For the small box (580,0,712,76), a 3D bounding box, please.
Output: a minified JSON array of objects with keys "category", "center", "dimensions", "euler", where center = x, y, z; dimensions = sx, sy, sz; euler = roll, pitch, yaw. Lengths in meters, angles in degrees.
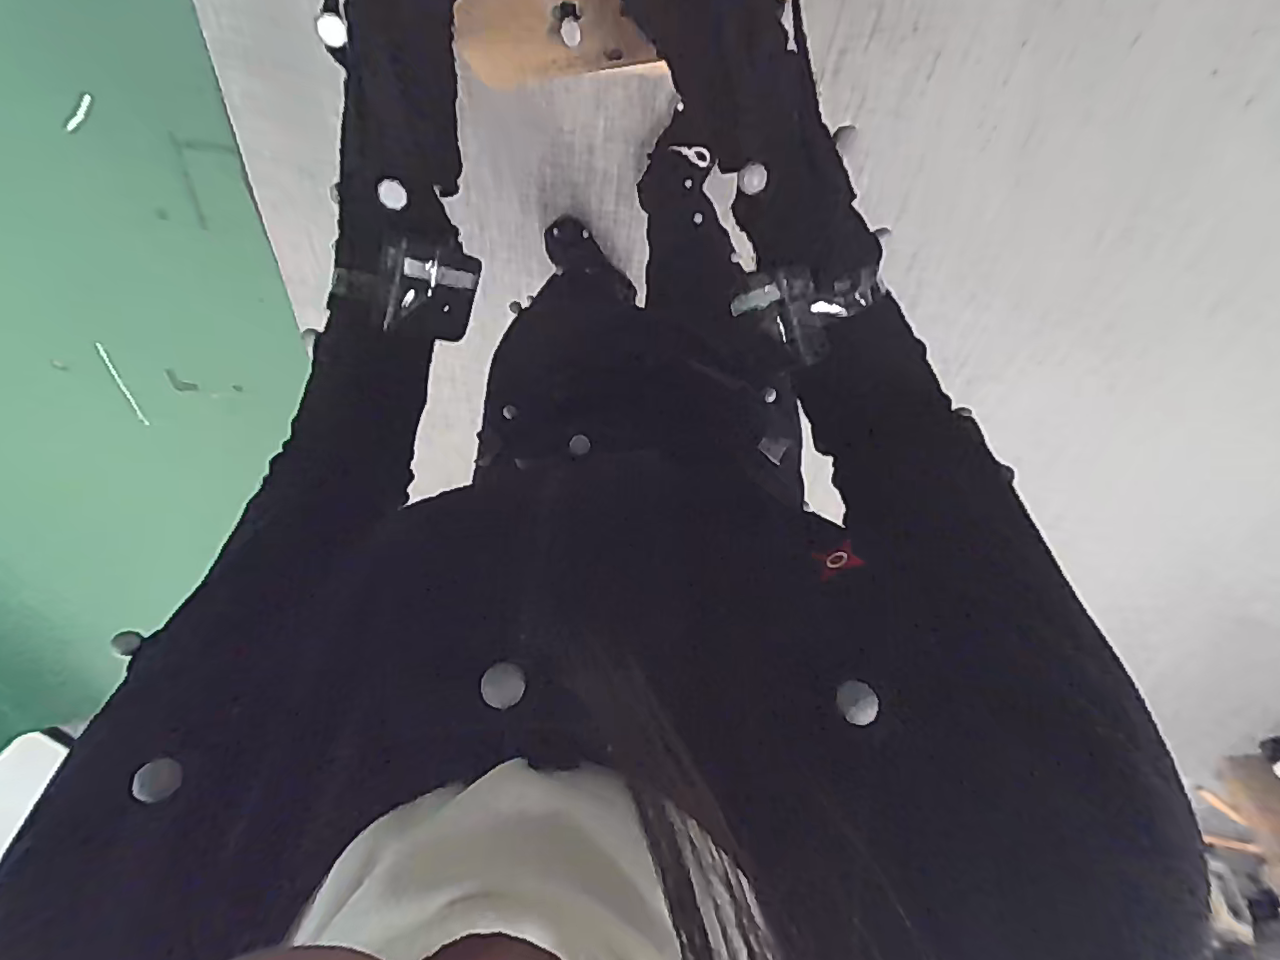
[{"category":"small box","center":[0.000,-0.601,0.646],"dimensions":[0.179,0.176,0.168],"euler":[5,135,2]}]
